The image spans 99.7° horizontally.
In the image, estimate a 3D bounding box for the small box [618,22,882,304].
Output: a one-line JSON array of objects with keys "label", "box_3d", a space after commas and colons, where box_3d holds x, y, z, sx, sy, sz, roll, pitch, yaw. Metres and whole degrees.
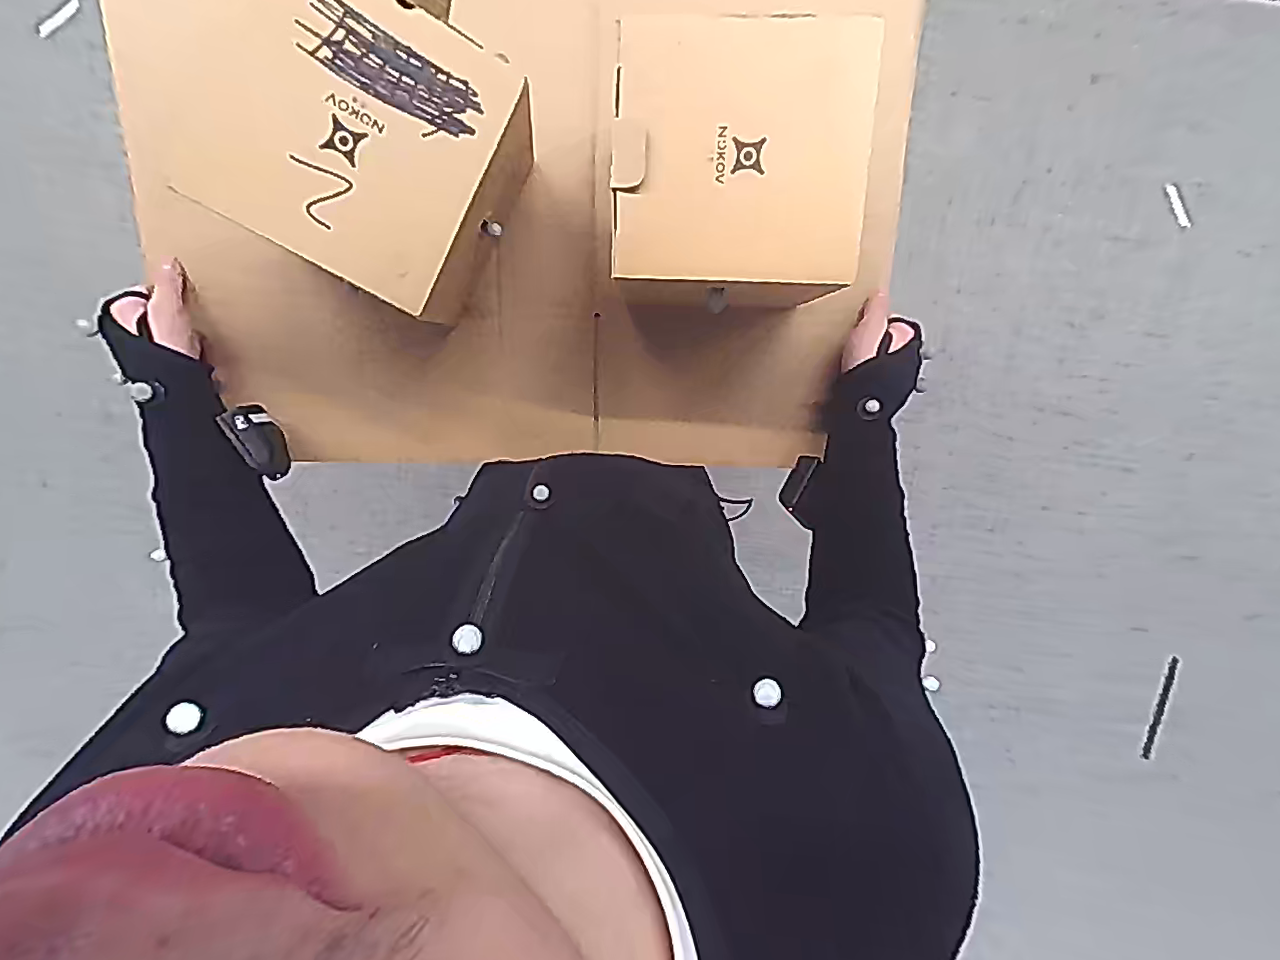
[{"label": "small box", "box_3d": [0.076, -0.245, 0.461, 0.179, 0.176, 0.168, 3, 103, 2]}]
